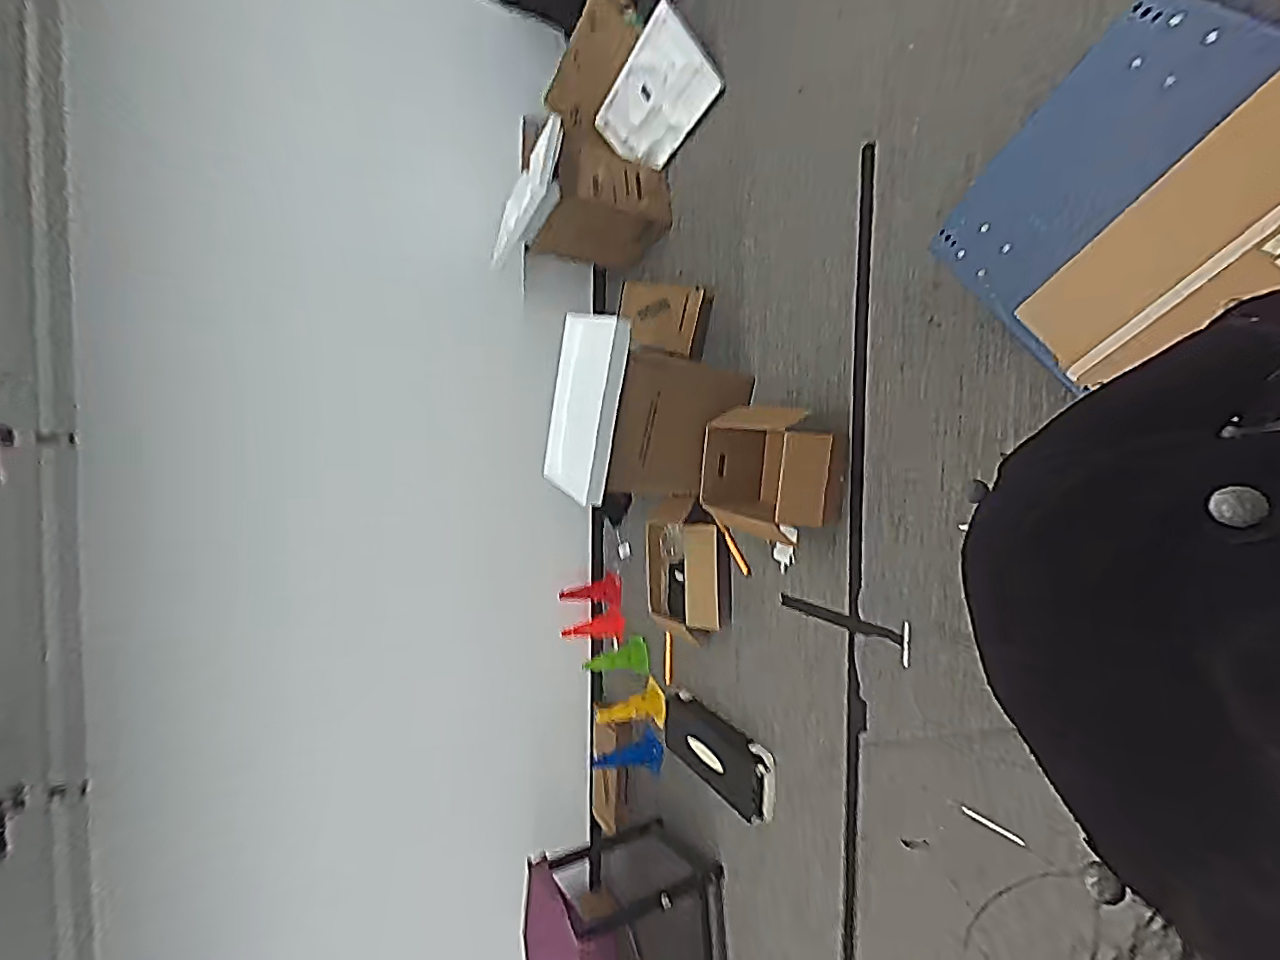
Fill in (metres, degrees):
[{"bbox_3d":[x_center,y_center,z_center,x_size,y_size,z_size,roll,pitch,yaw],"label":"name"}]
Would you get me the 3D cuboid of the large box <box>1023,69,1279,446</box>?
[{"bbox_3d":[0.932,-0.299,0.828,0.408,0.320,0.320,-55,46,43],"label":"large box"}]
